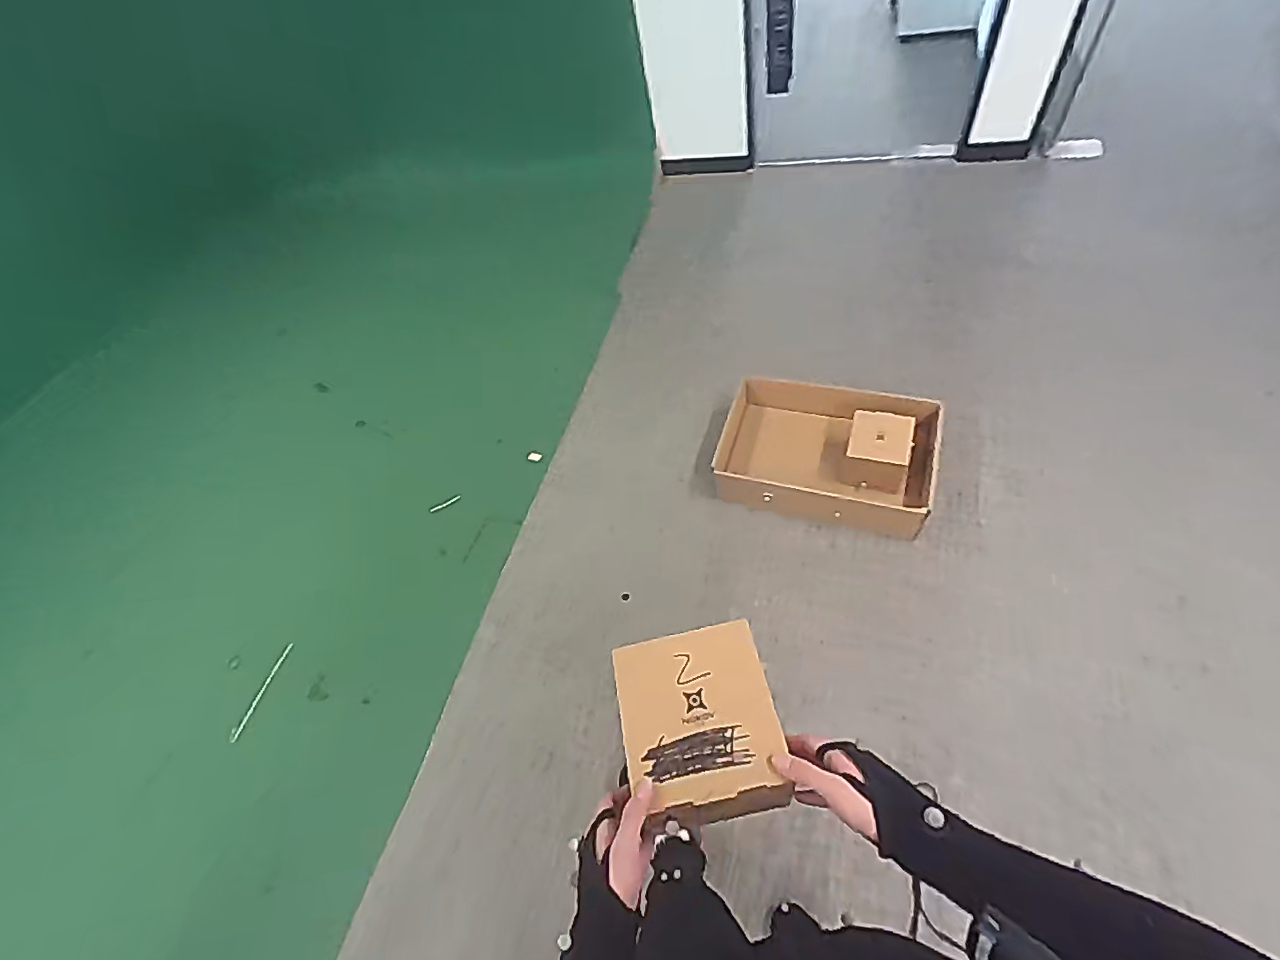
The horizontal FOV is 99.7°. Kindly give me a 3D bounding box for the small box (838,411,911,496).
[{"bbox_3d":[0.702,-0.078,1.629,0.168,0.176,0.179,12,62,21],"label":"small box"}]
